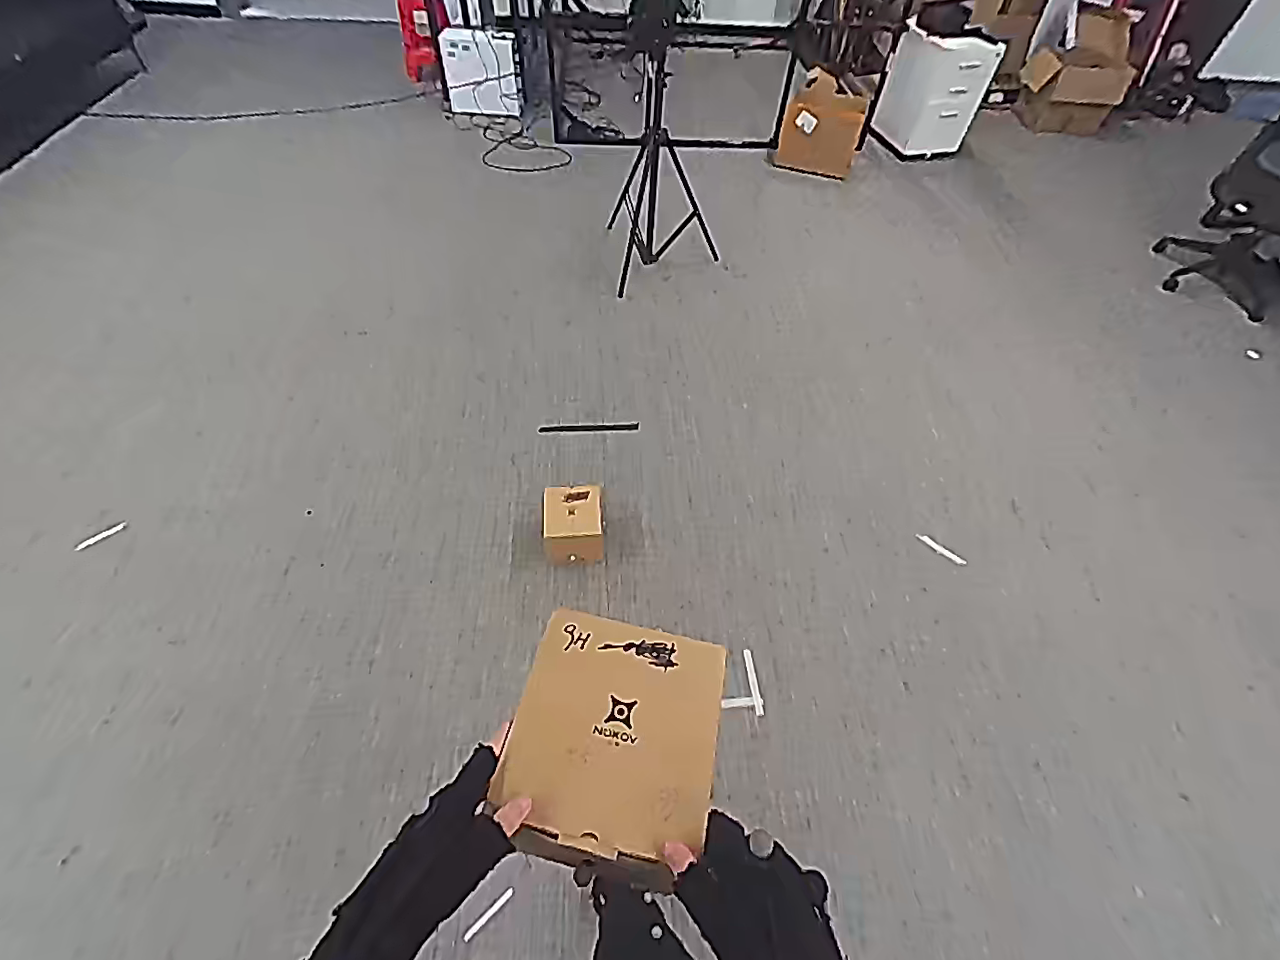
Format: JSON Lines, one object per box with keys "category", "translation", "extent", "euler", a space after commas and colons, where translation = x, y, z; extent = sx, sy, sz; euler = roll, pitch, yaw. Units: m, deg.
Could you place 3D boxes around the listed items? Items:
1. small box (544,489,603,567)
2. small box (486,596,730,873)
{"category": "small box", "translation": [-0.199, 0.146, 1.637], "extent": [0.168, 0.176, 0.179], "euler": [-3, 54, -5]}
{"category": "small box", "translation": [-0.020, 0.238, 0.500], "extent": [0.168, 0.176, 0.179], "euler": [12, 50, 5]}
